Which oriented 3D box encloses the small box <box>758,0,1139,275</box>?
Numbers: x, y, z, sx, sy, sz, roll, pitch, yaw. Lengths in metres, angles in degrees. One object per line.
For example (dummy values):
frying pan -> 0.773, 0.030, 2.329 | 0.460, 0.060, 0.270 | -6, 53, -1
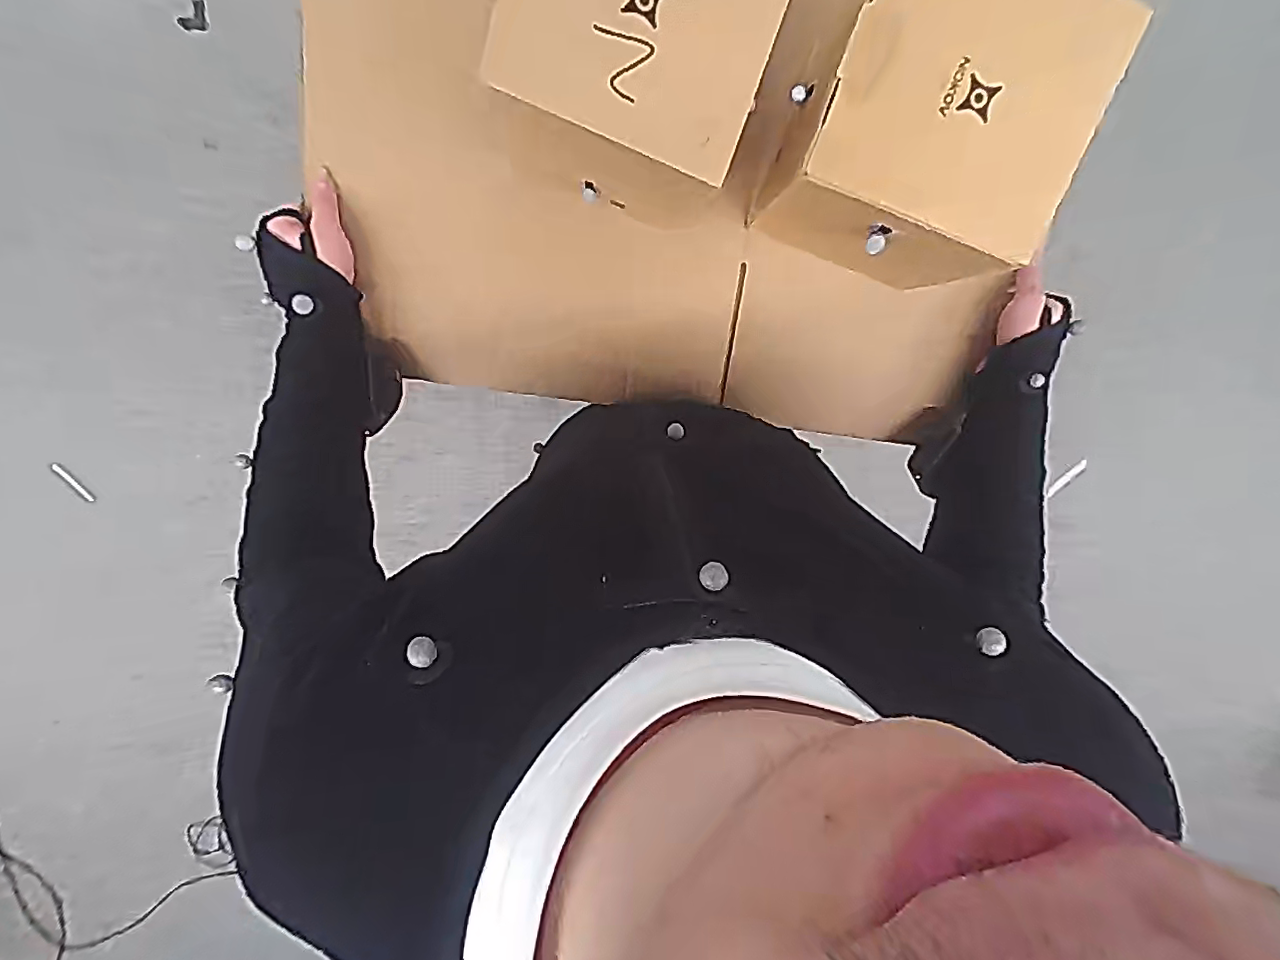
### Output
small box -> 0.220, -0.280, 0.442 | 0.179, 0.176, 0.168 | 19, 103, -5
